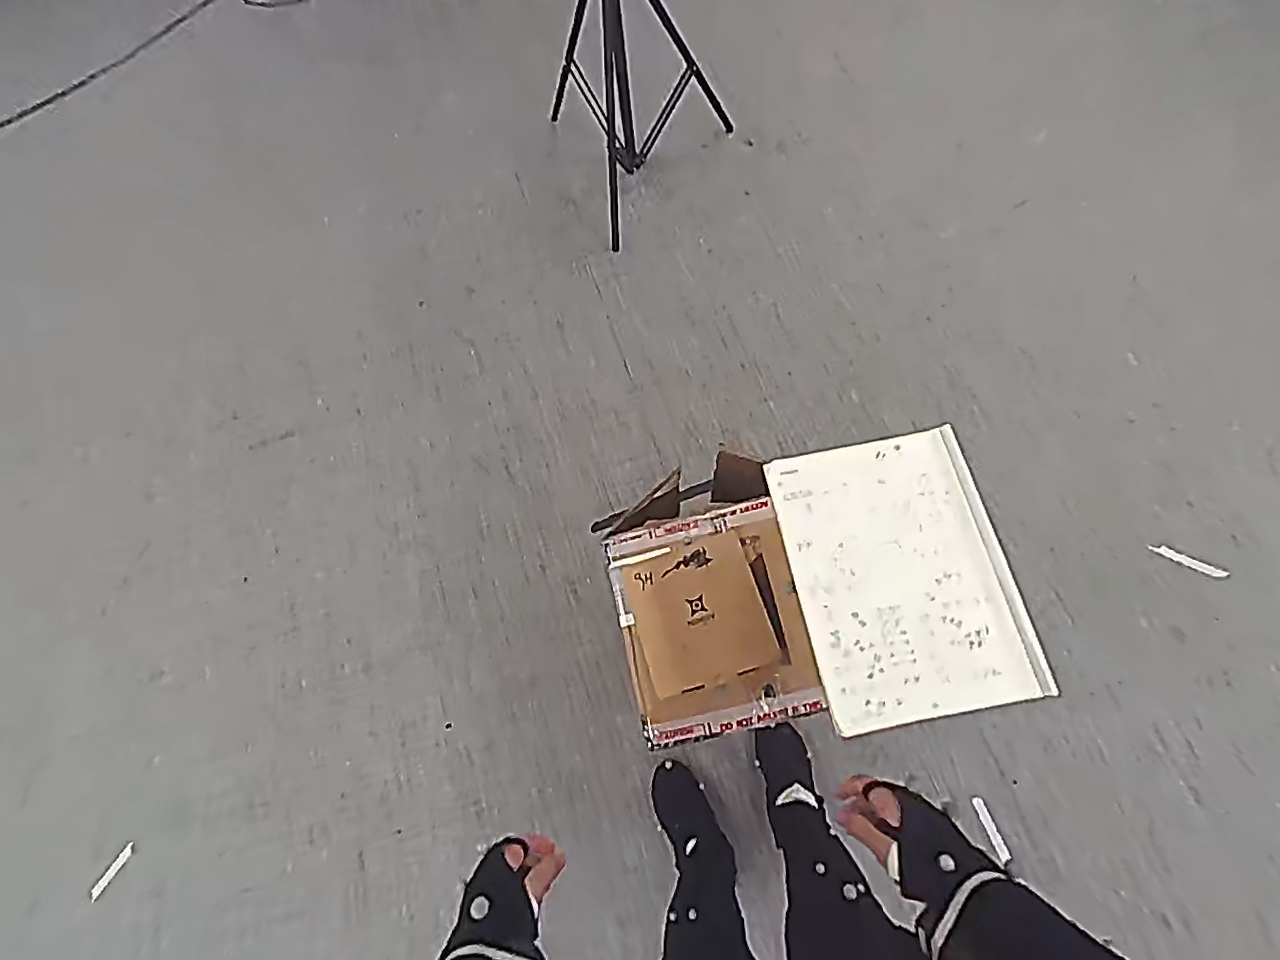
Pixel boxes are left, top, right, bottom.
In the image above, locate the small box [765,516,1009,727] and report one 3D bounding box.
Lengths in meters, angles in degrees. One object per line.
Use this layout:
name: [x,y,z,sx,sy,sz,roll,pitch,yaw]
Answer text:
small box: [0.247,0.154,0.595,0.168,0.176,0.179,-11,74,-1]
